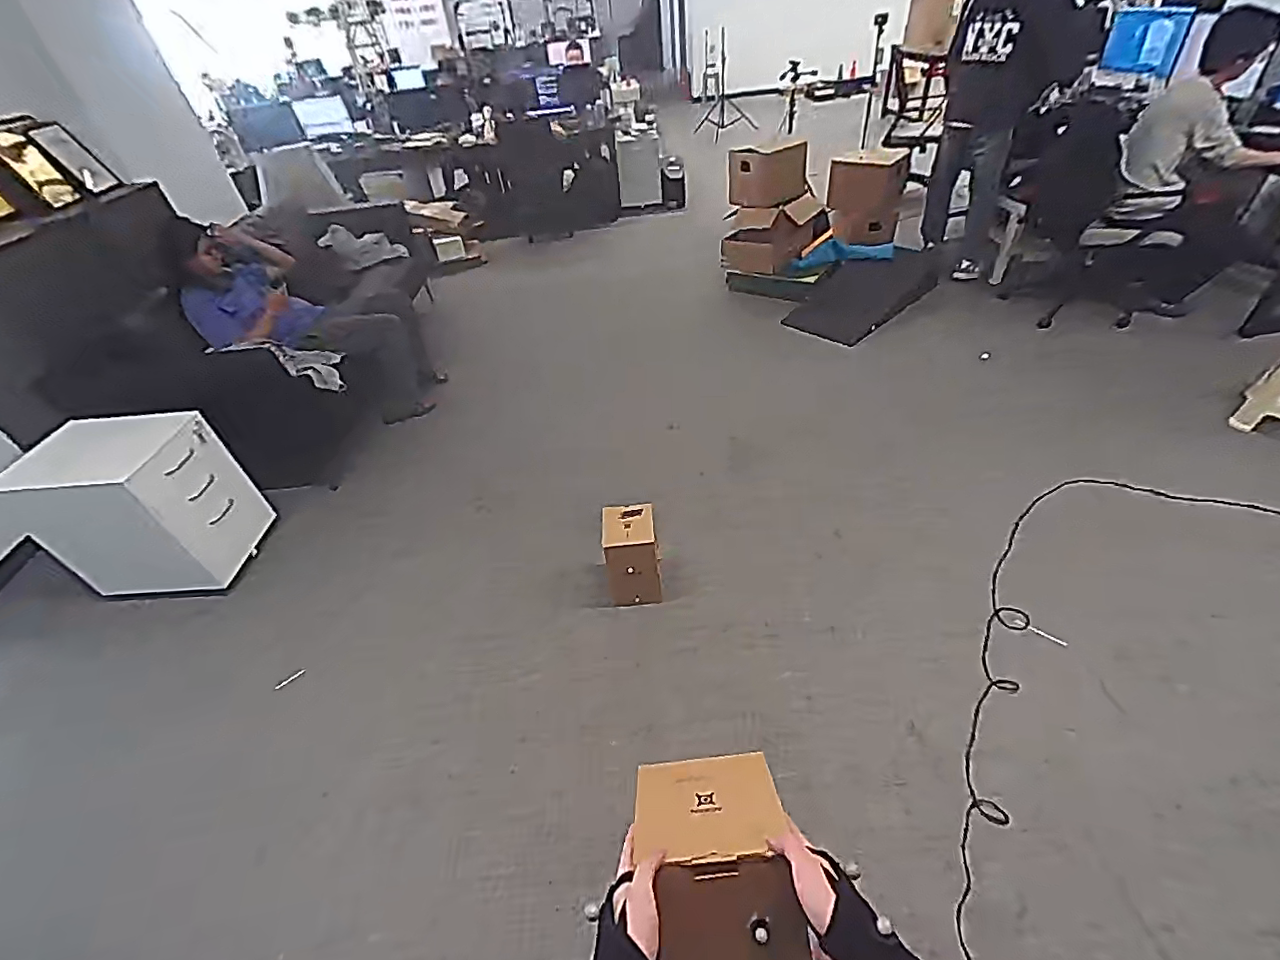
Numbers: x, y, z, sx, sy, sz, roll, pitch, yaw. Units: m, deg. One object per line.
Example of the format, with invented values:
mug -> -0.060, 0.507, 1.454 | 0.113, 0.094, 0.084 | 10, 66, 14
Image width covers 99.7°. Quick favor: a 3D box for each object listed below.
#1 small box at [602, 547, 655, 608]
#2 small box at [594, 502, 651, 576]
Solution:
small box -> -0.039, 0.330, 1.905 | 0.179, 0.176, 0.168 | -6, 42, 0
small box -> -0.053, 0.195, 1.777 | 0.168, 0.176, 0.179 | -5, 41, 4
